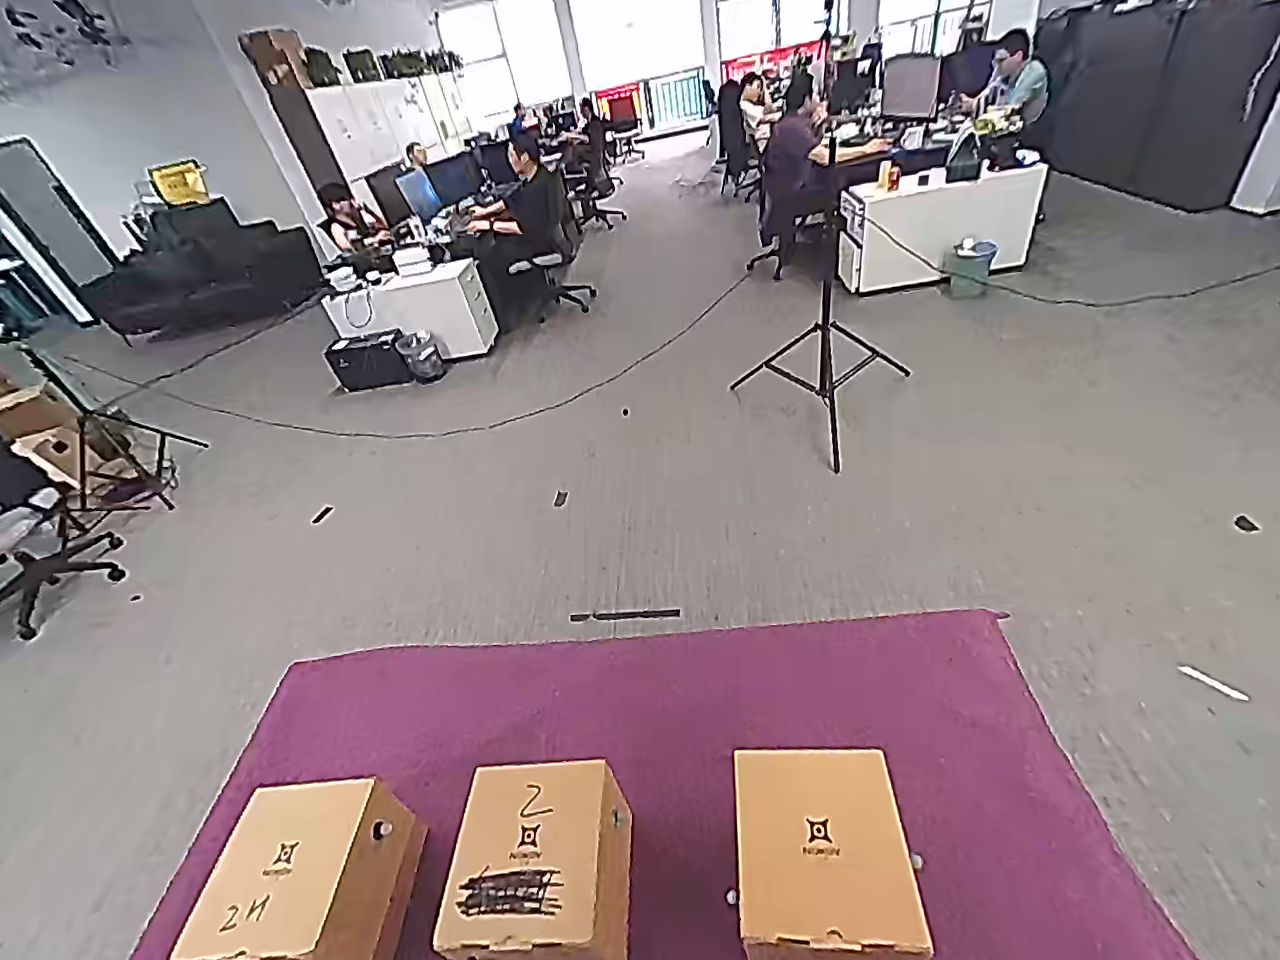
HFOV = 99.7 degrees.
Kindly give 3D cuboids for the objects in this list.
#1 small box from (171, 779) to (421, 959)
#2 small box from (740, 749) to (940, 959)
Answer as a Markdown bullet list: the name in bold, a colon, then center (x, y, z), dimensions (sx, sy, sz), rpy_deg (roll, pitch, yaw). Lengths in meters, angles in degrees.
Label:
- **small box**: center (-0.394, 0.499, 0.664), dimensions (0.168, 0.176, 0.179), rpy_deg (-8, 38, 5)
- **small box**: center (0.199, 0.421, 0.589), dimensions (0.168, 0.176, 0.179), rpy_deg (-6, 37, 10)
